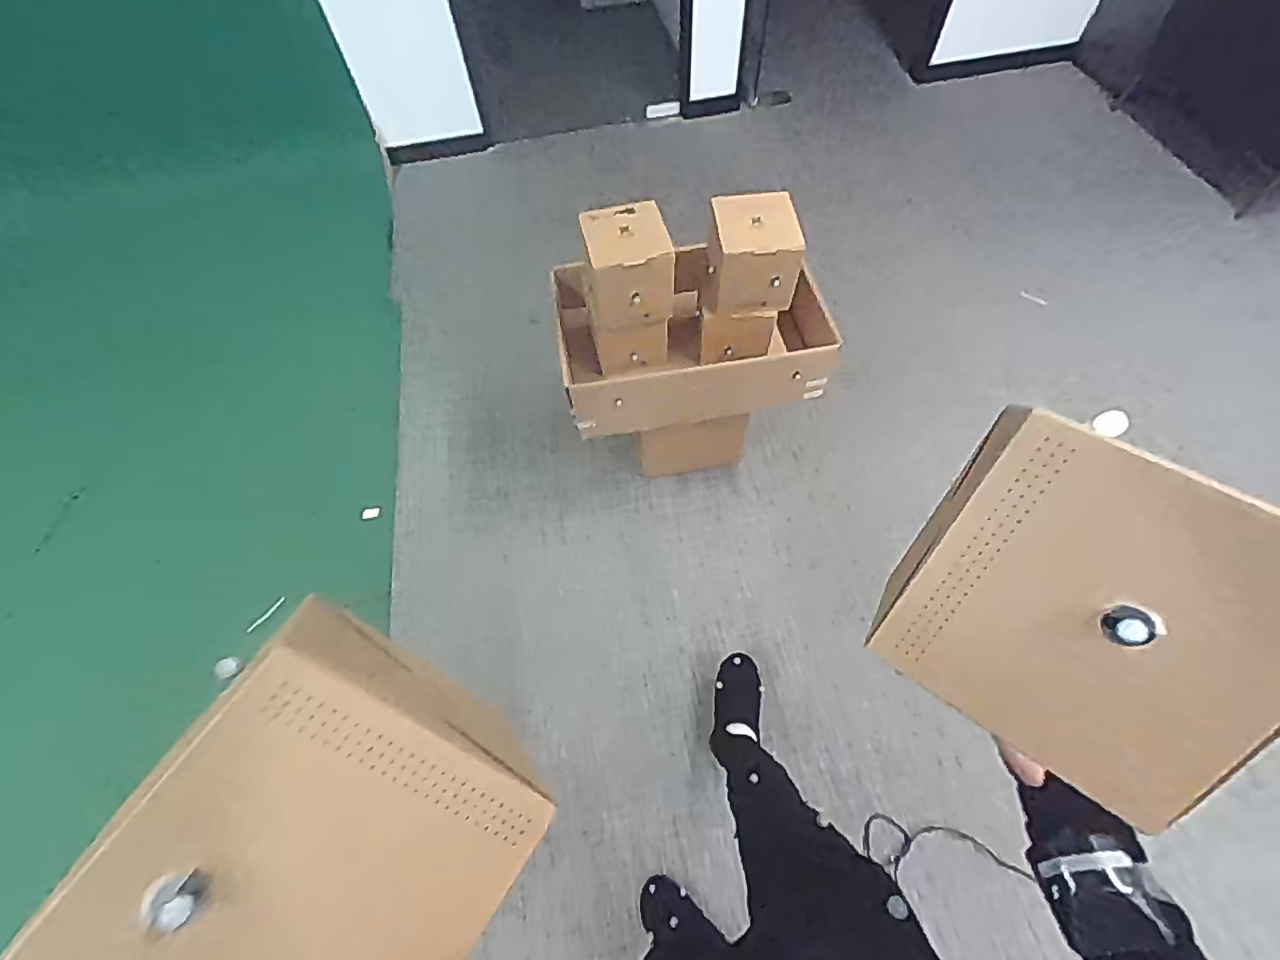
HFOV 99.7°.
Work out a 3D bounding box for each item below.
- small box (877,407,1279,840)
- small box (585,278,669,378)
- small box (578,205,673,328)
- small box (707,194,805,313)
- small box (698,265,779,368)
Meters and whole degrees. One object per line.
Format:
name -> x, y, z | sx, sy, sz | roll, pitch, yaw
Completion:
small box -> 0.273, 0.068, 0.353 | 0.176, 0.168, 0.179 | 32, 112, 23
small box -> -0.031, -0.376, 1.299 | 0.168, 0.176, 0.179 | -13, 62, -4
small box -> -0.027, -0.444, 1.148 | 0.168, 0.176, 0.179 | -12, 62, -4
small box -> 0.238, -0.474, 1.154 | 0.168, 0.176, 0.179 | -5, 61, 0
small box -> 0.228, -0.391, 1.296 | 0.168, 0.176, 0.179 | -1, 62, 3
